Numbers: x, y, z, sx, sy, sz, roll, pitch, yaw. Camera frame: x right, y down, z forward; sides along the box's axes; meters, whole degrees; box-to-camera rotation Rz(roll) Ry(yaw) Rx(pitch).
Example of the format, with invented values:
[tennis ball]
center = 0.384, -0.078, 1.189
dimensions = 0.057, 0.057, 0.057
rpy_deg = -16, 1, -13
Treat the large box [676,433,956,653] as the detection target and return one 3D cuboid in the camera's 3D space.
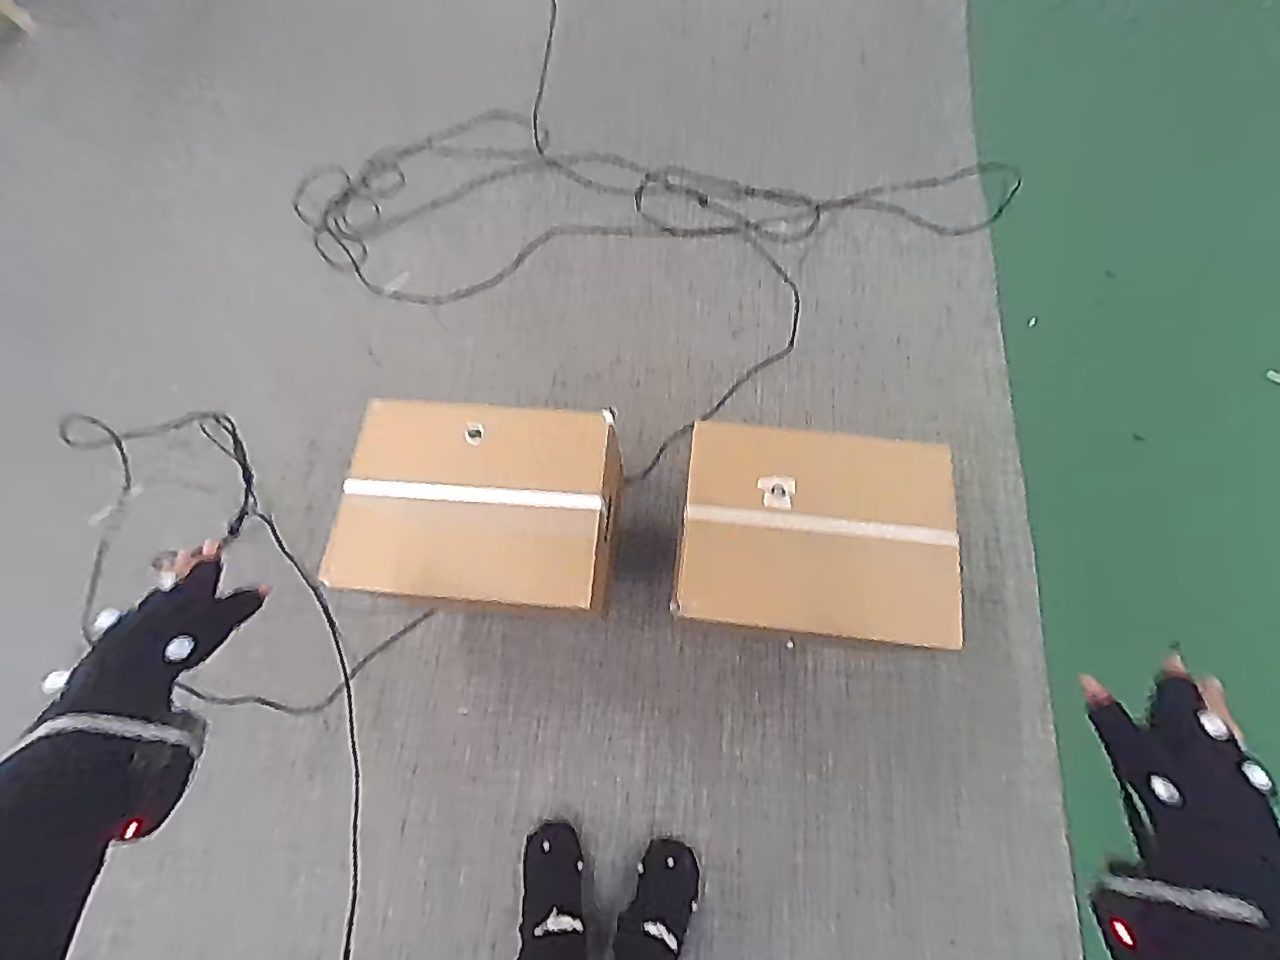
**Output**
[large box]
center = 0.281, 0.129, 0.972
dimensions = 0.408, 0.320, 0.320
rpy_deg = 6, 72, 4
